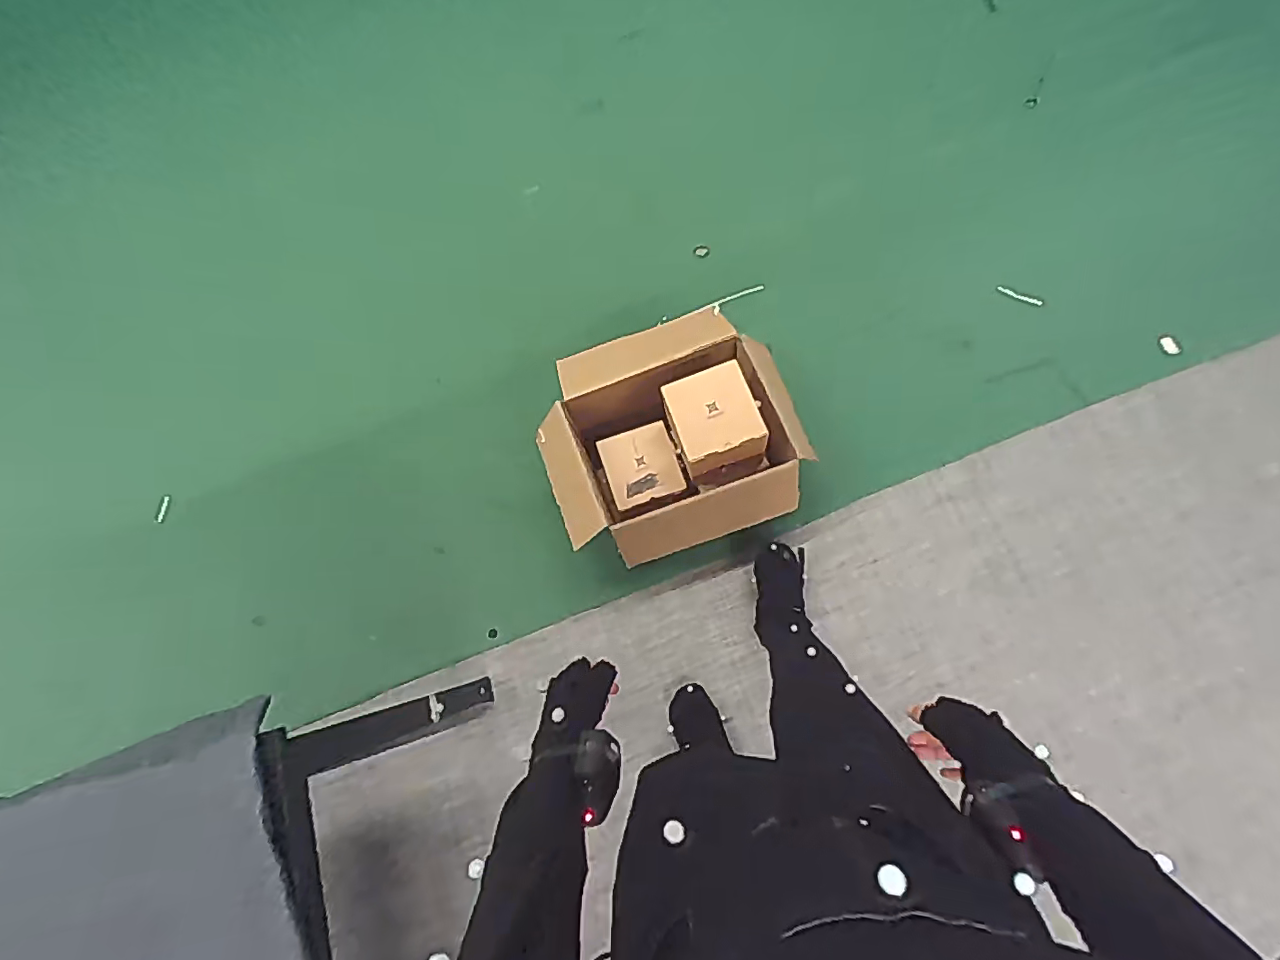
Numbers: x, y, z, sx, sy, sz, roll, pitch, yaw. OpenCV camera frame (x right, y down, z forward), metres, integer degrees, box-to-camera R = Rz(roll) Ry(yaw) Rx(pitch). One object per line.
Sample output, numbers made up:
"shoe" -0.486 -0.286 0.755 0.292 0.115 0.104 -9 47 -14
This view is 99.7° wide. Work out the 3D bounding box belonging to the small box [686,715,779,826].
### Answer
"small box" 0.196 0.626 1.183 0.168 0.176 0.179 1 77 -6
